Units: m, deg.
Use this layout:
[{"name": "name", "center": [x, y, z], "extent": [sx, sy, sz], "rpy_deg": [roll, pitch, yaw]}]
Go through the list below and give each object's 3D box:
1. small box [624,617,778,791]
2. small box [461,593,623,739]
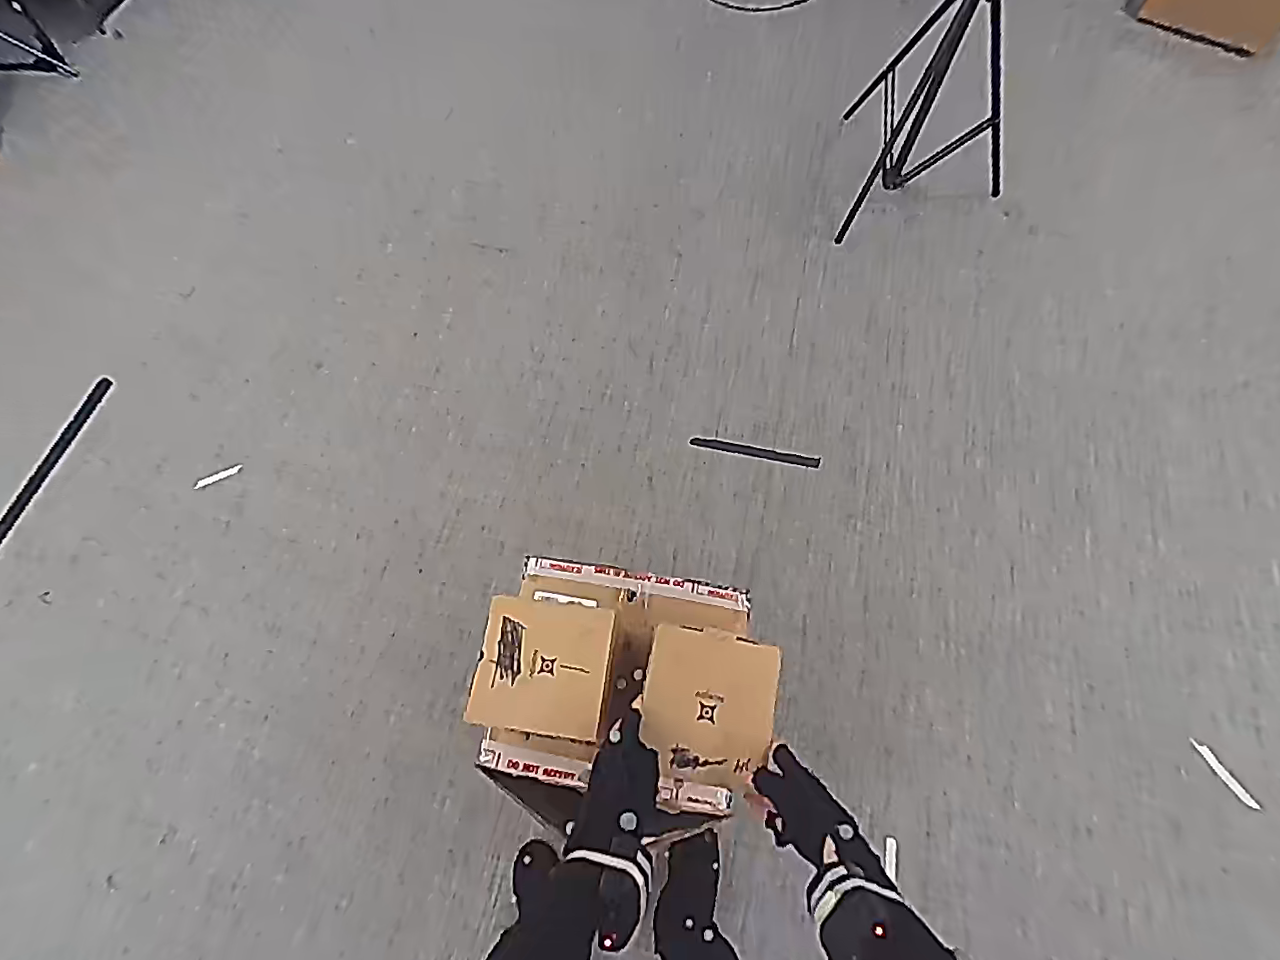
[{"name": "small box", "center": [0.076, 0.299, 0.744], "extent": [0.168, 0.176, 0.179], "rpy_deg": [13, 70, -1]}, {"name": "small box", "center": [-0.127, 0.270, 0.779], "extent": [0.179, 0.176, 0.168], "rpy_deg": [5, 67, 6]}]
